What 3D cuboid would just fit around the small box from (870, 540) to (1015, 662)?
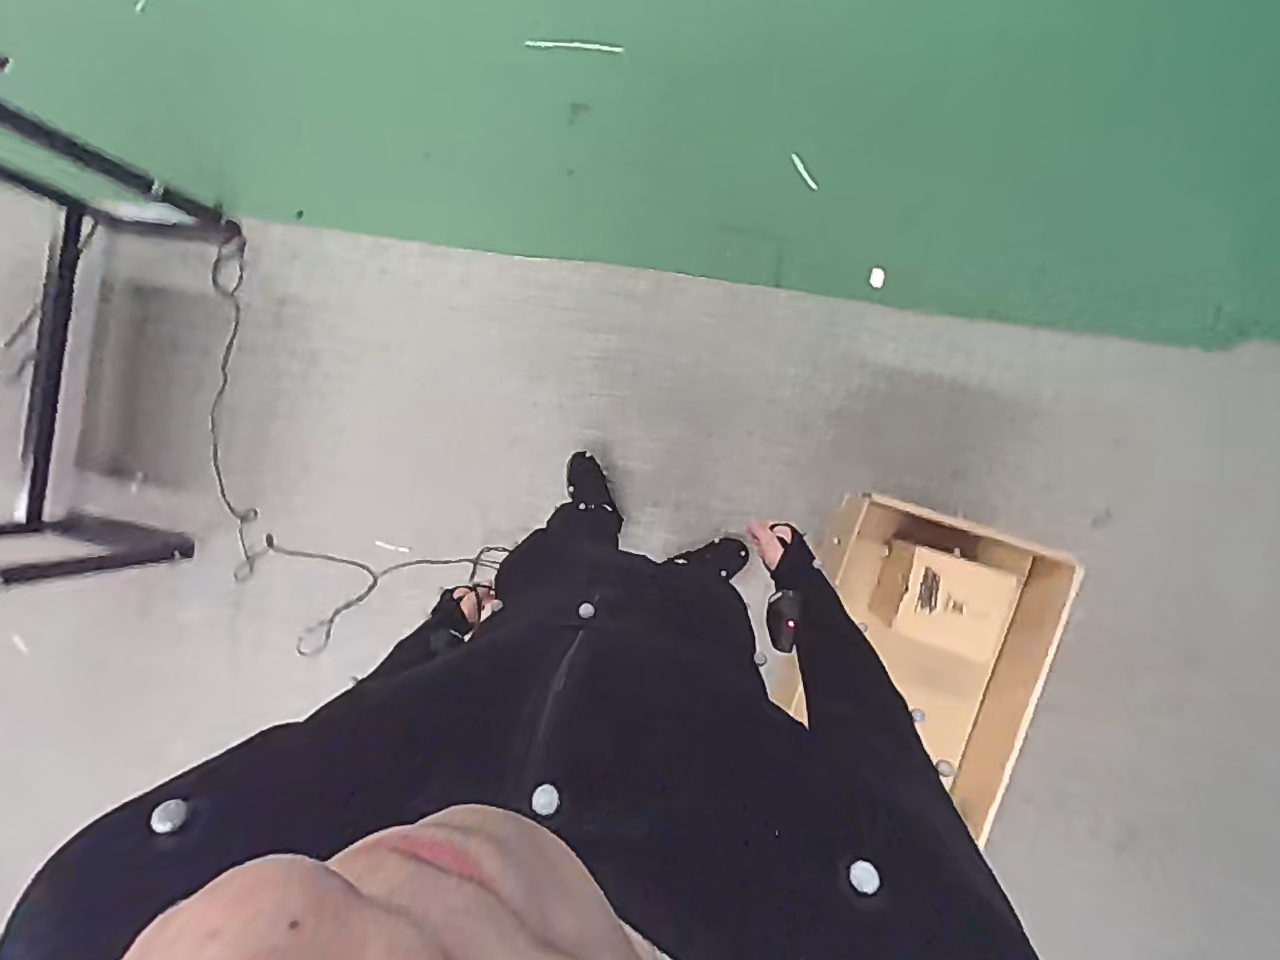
[{"bbox_3d":[0.573,0.223,1.053,0.179,0.176,0.168,18,94,9],"label":"small box"}]
